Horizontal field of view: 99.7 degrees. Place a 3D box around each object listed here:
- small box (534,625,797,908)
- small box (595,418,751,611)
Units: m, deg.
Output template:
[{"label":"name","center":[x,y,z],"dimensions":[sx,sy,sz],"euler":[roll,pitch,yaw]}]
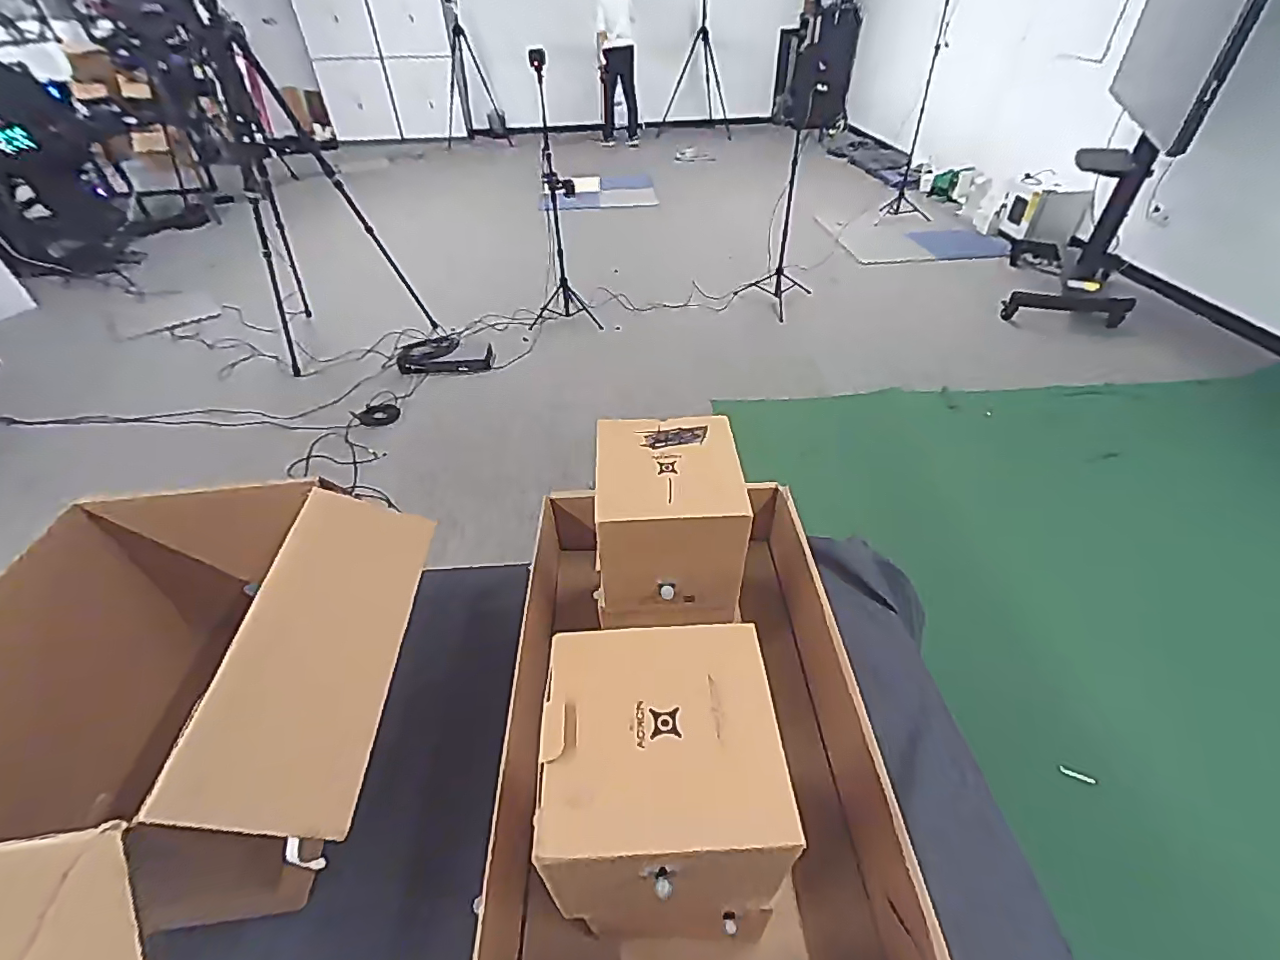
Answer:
[{"label":"small box","center":[0.016,0.244,0.461],"dimensions":[0.179,0.176,0.168],"euler":[-3,43,-2]},{"label":"small box","center":[0.033,0.042,0.673],"dimensions":[0.168,0.176,0.179],"euler":[-2,44,0]}]
